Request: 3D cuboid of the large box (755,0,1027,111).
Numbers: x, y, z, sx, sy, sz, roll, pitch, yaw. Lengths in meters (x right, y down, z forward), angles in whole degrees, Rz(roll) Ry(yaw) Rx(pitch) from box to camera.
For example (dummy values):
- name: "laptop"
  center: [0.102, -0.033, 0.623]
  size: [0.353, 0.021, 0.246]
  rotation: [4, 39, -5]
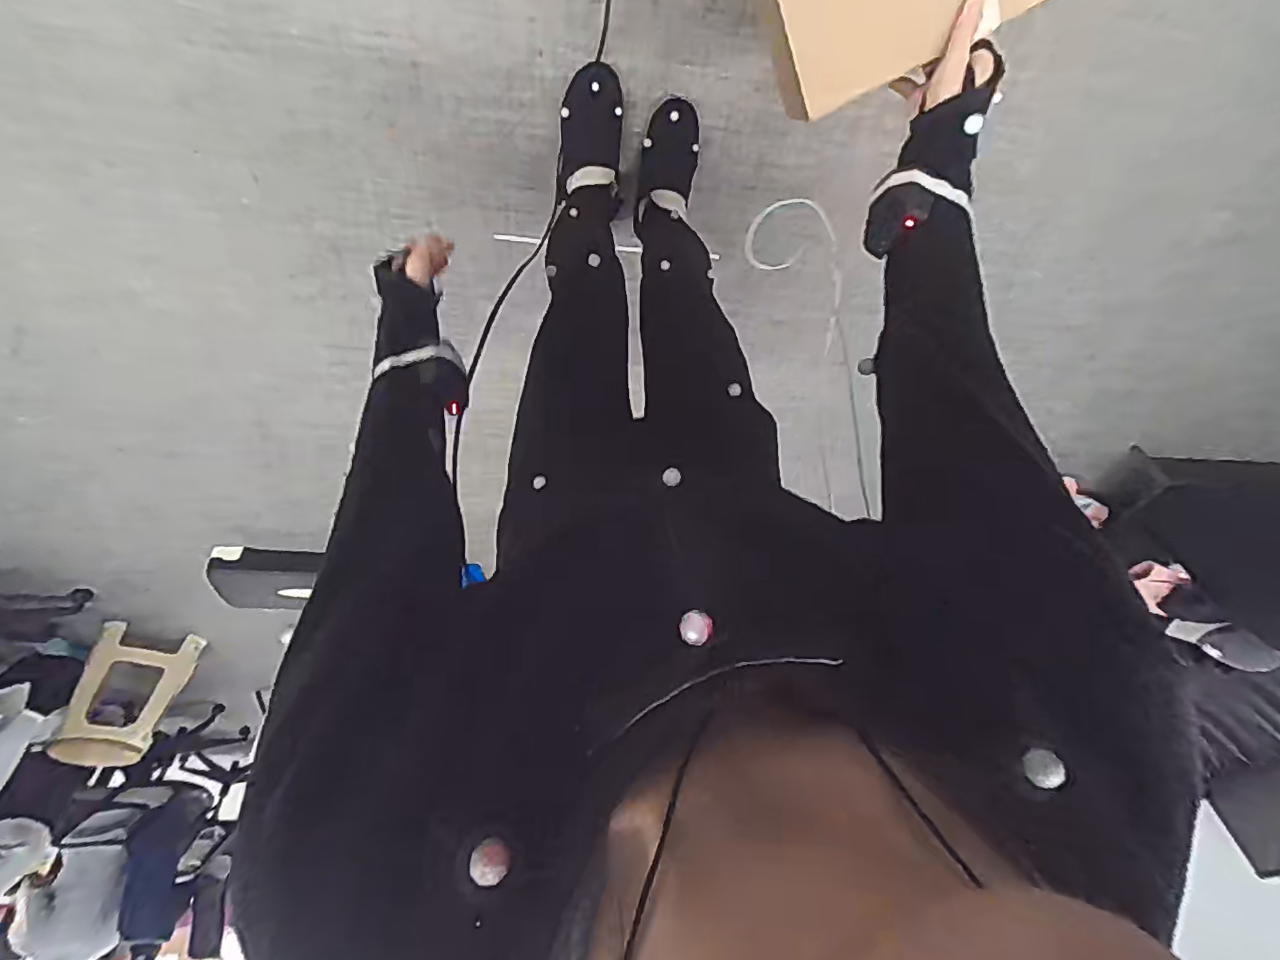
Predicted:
- name: "large box"
  center: [0.245, -0.656, 0.533]
  size: [0.320, 0.320, 0.408]
  rotation: [-15, 119, 18]
